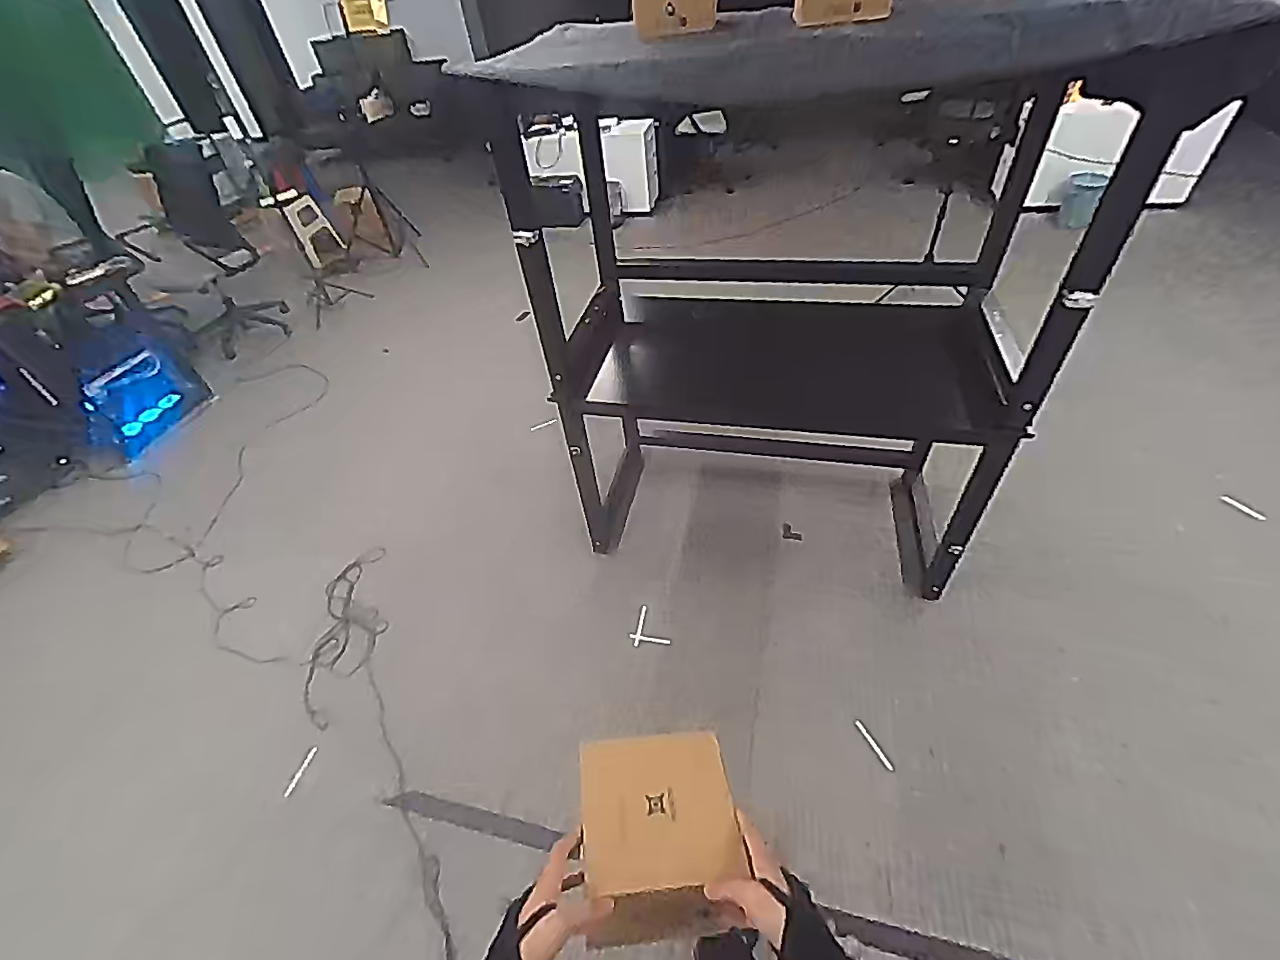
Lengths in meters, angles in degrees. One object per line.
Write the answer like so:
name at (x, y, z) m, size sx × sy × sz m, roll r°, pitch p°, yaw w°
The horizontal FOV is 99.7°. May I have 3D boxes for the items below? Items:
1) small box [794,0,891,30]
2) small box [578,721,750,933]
small box at (0.390, -0.977, 1.030) m, size 0.168 × 0.176 × 0.179 m, roll 1°, pitch 45°, yaw 9°
small box at (0.015, 0.422, 0.664) m, size 0.179 × 0.176 × 0.168 m, roll 0°, pitch 35°, yaw -8°
